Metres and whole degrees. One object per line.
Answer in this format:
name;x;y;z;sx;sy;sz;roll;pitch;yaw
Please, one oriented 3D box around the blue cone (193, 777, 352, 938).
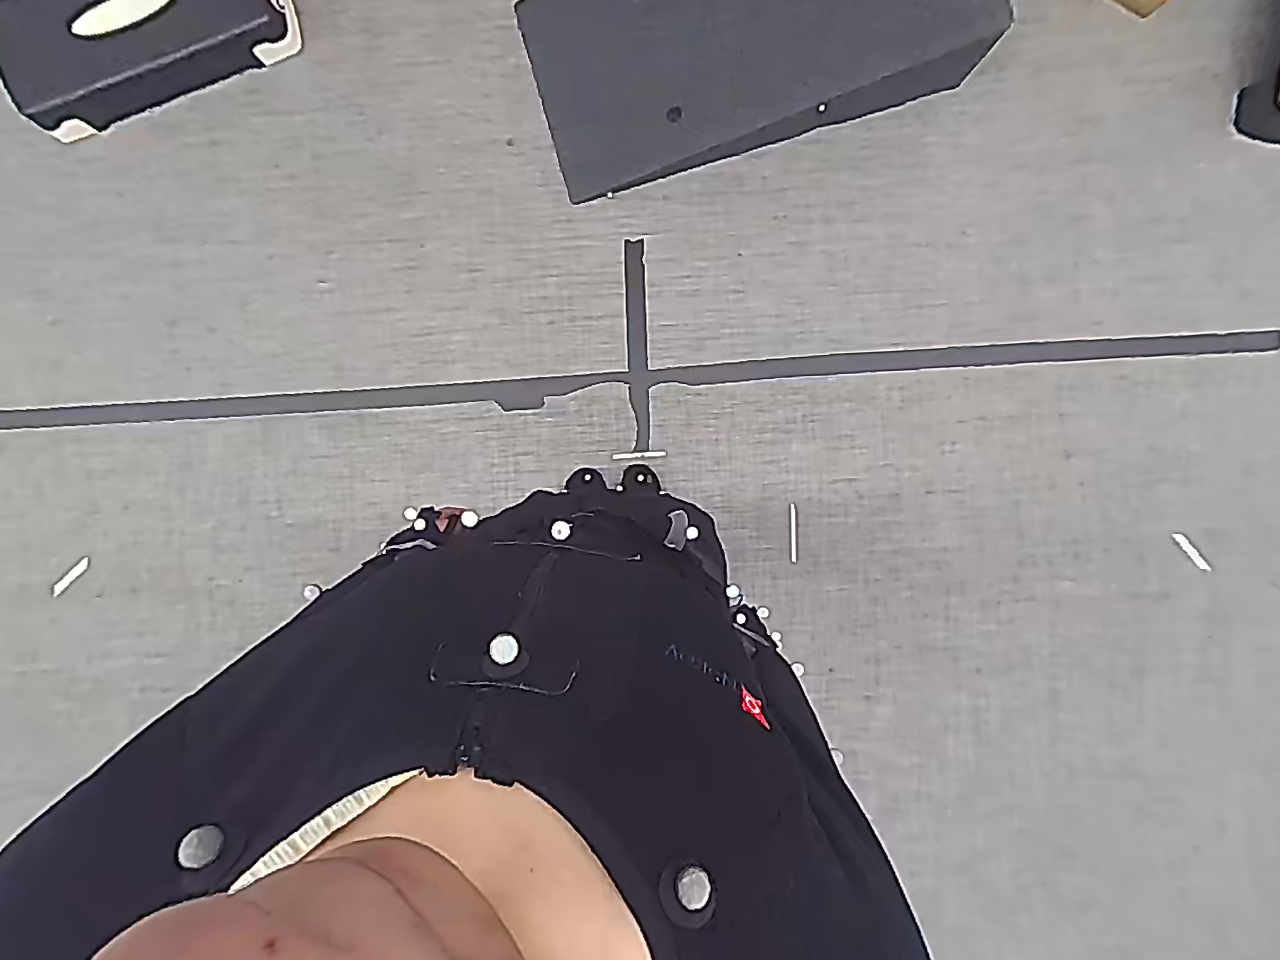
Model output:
blue cone;-0.863;0.888;1.267;0.192;0.380;0.193;-2;94;2
